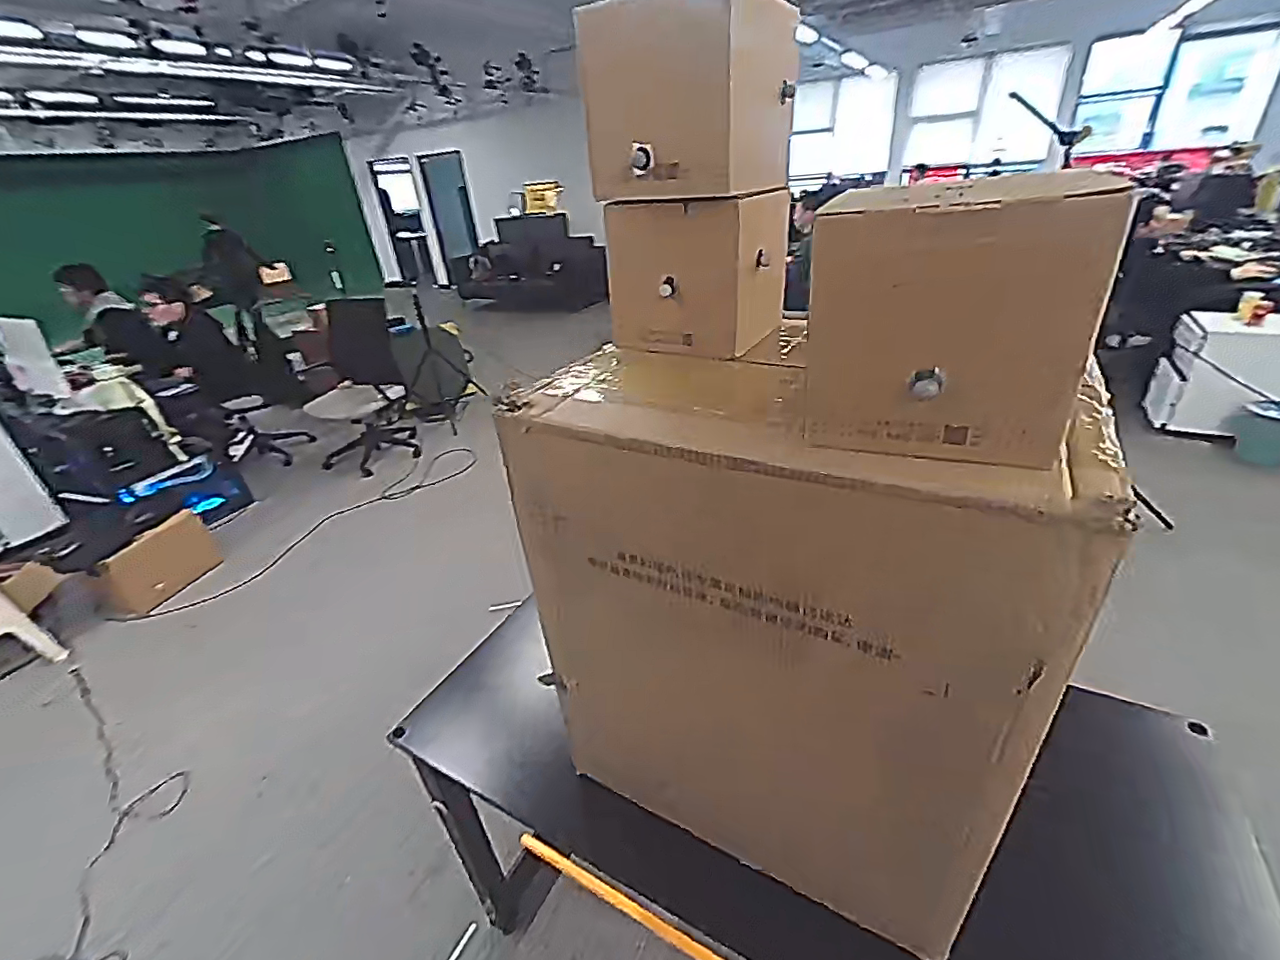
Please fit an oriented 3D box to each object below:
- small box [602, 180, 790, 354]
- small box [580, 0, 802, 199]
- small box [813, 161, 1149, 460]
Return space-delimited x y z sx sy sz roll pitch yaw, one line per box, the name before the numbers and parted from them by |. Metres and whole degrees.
small box | 0.076 -0.262 0.664 0.168 0.176 0.179 13 34 27
small box | 0.059 -0.396 0.570 0.168 0.176 0.179 13 34 29
small box | 0.232 -0.134 0.410 0.168 0.176 0.179 8 34 26
